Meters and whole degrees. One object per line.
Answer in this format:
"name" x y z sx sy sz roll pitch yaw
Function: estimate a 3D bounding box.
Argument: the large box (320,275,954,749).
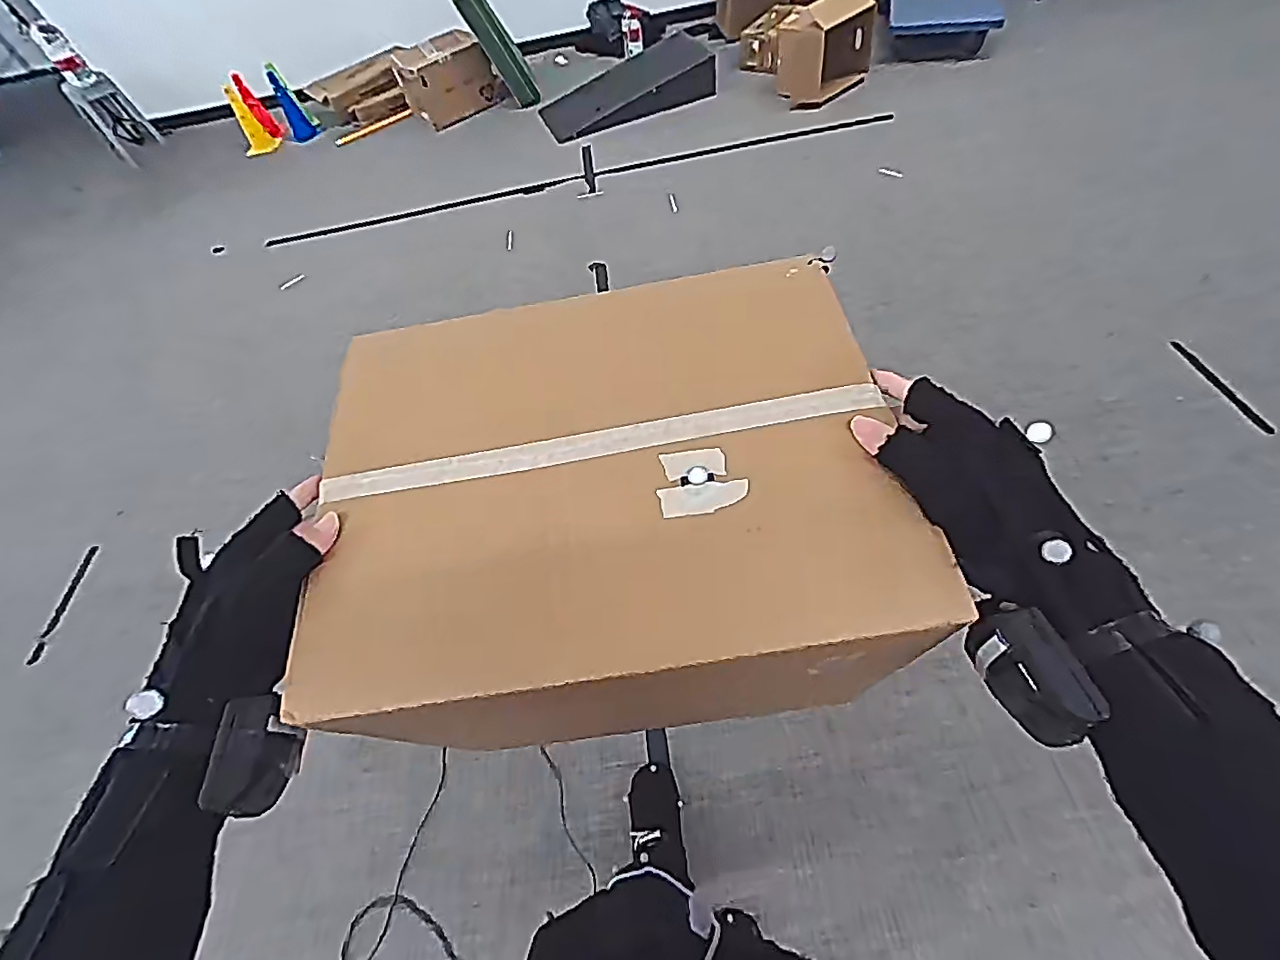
"large box" -0.009 0.056 0.531 0.408 0.320 0.320 -9 60 2
